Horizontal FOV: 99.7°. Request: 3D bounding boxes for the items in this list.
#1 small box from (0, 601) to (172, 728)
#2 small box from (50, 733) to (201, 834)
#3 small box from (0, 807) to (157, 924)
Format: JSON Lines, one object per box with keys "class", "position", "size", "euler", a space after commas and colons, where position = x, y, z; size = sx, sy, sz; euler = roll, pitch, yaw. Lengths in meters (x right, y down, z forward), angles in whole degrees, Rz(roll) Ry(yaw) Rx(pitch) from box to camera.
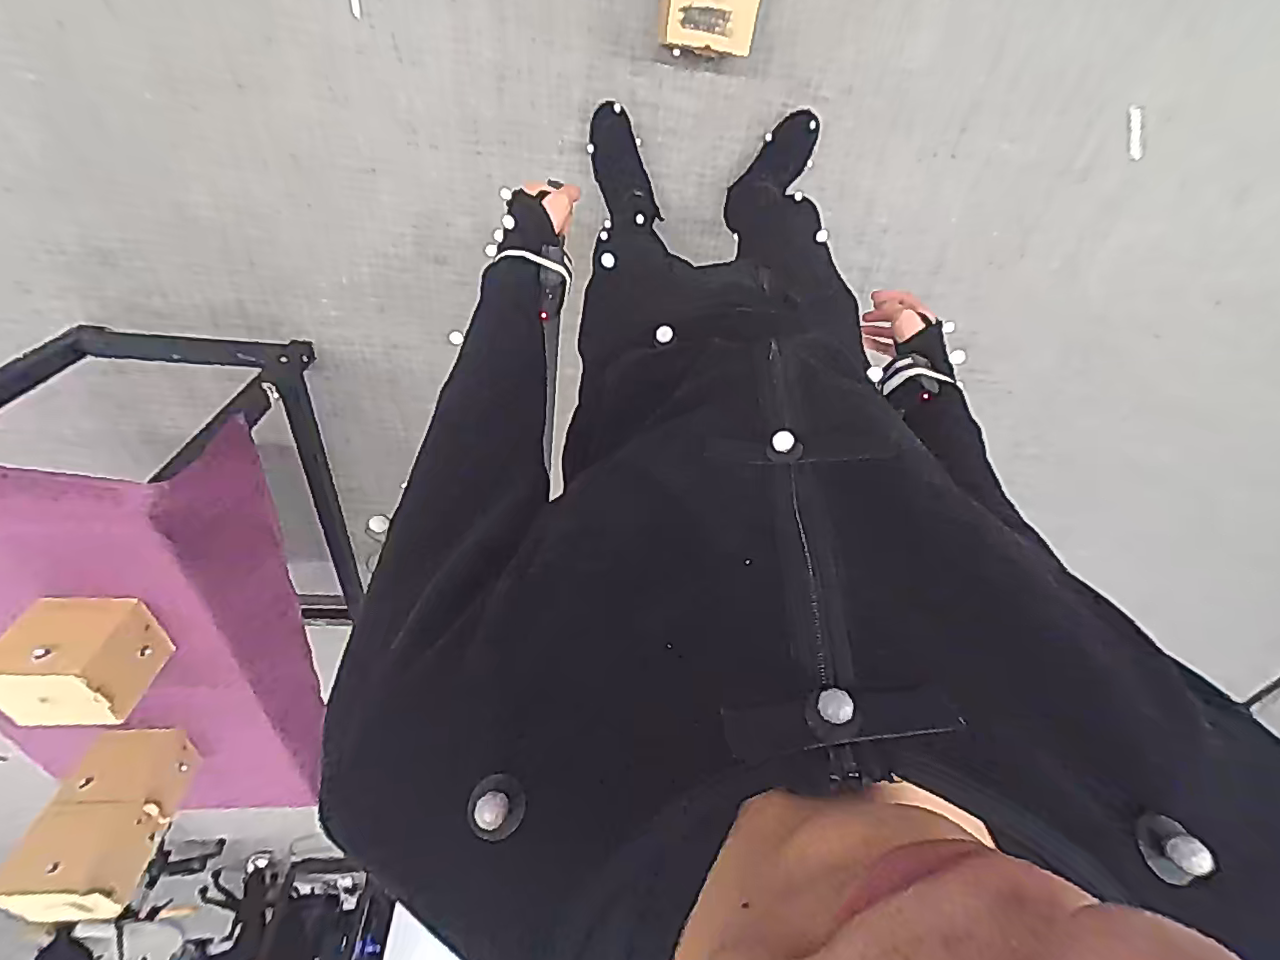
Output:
{"class": "small box", "position": [-1.049, 0.342, 1.013], "size": [0.179, 0.176, 0.168], "euler": [2, 128, -7]}
{"class": "small box", "position": [-1.219, 0.728, 1.299], "size": [0.179, 0.176, 0.168], "euler": [3, 128, -8]}
{"class": "small box", "position": [-1.207, 0.830, 1.171], "size": [0.179, 0.176, 0.168], "euler": [0, 128, -5]}
